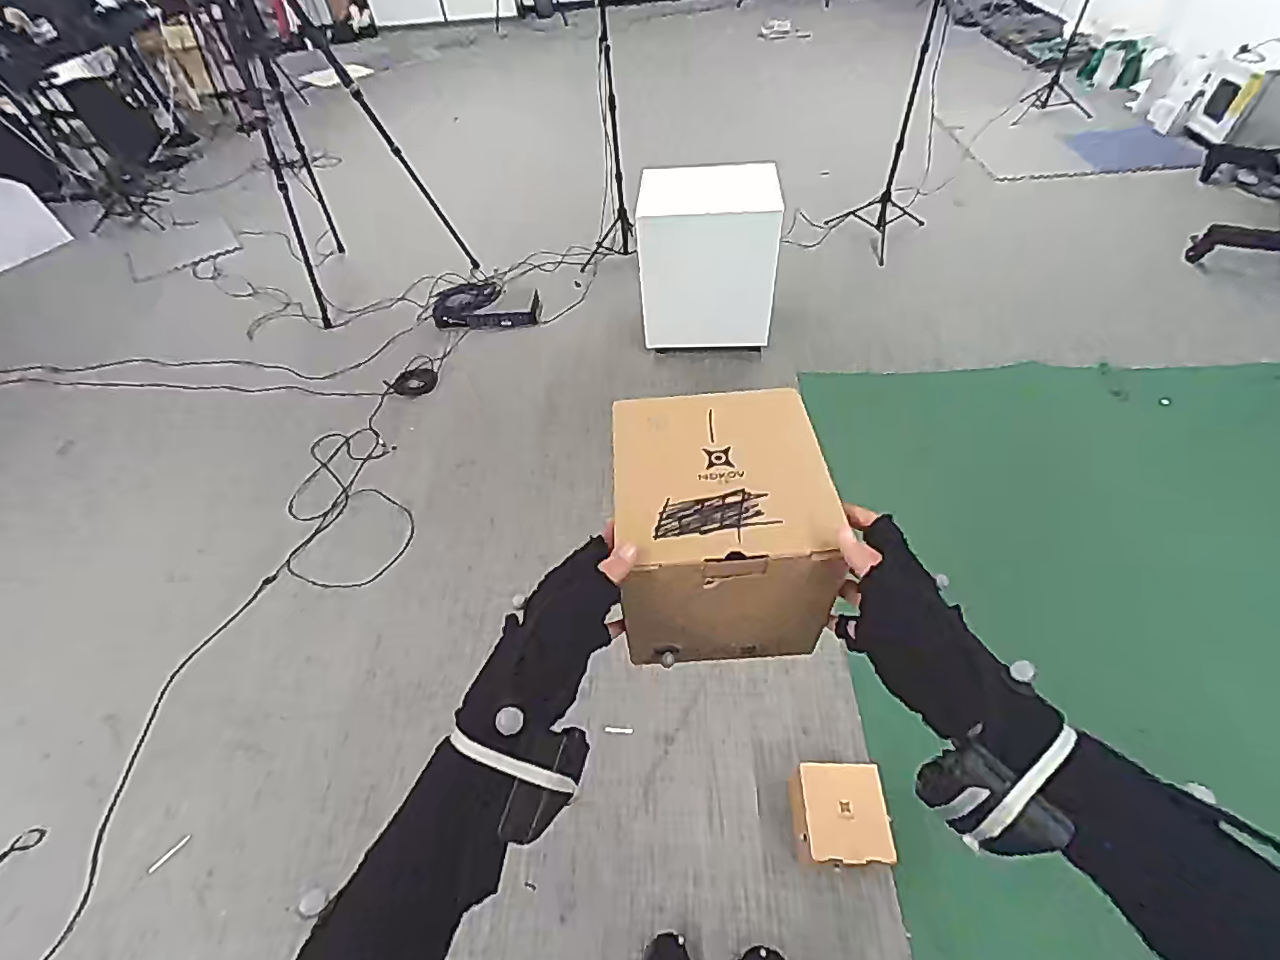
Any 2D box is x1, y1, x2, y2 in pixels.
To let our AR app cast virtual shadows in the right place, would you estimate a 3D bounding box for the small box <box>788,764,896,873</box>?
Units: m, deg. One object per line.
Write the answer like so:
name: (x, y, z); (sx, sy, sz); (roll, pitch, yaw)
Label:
small box: (0.423, 0.729, 1.166); (0.168, 0.176, 0.179); (-2, 50, 4)
